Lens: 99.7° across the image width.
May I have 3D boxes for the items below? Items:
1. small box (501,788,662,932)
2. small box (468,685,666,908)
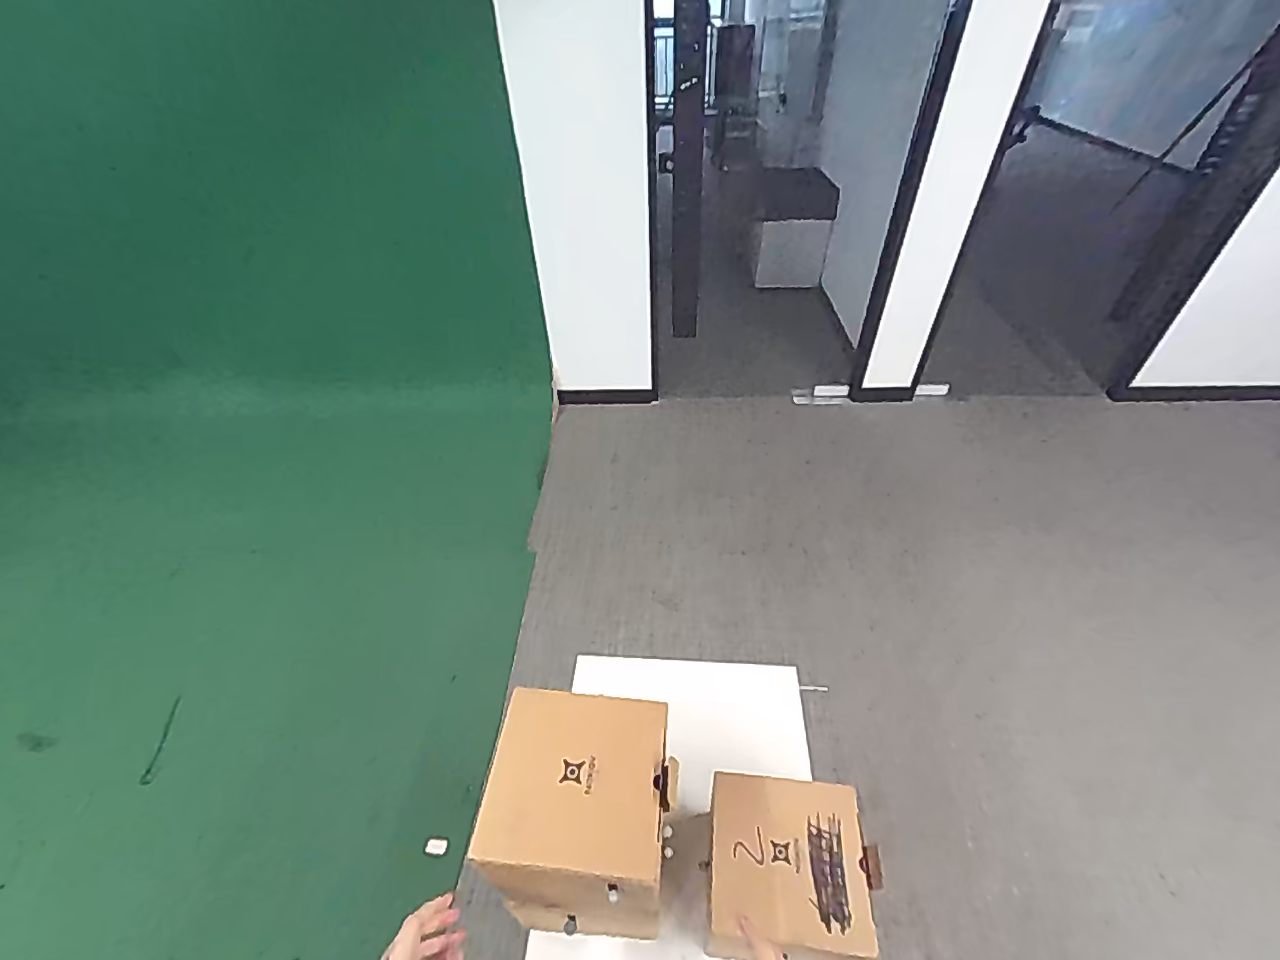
[{"bbox_3d":[-0.062,0.472,0.708,0.179,0.176,0.168,2,43,3],"label":"small box"},{"bbox_3d":[-0.065,0.351,0.599,0.179,0.176,0.168,4,43,3],"label":"small box"}]
